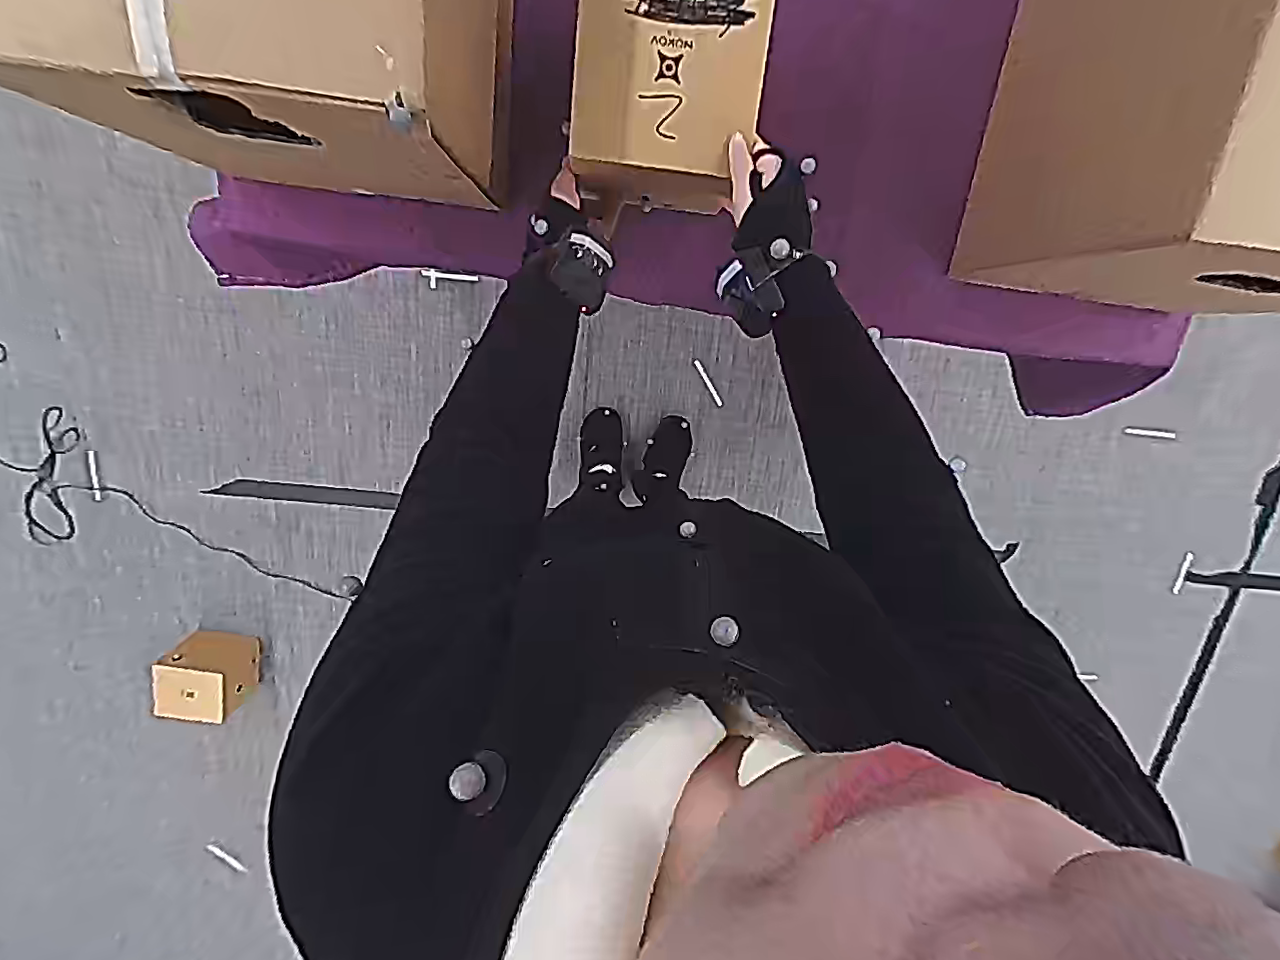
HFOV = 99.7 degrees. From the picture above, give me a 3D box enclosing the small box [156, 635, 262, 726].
[{"bbox_3d":[-1.193,0.554,1.510,0.179,0.176,0.168,11,106,-6],"label":"small box"}]
